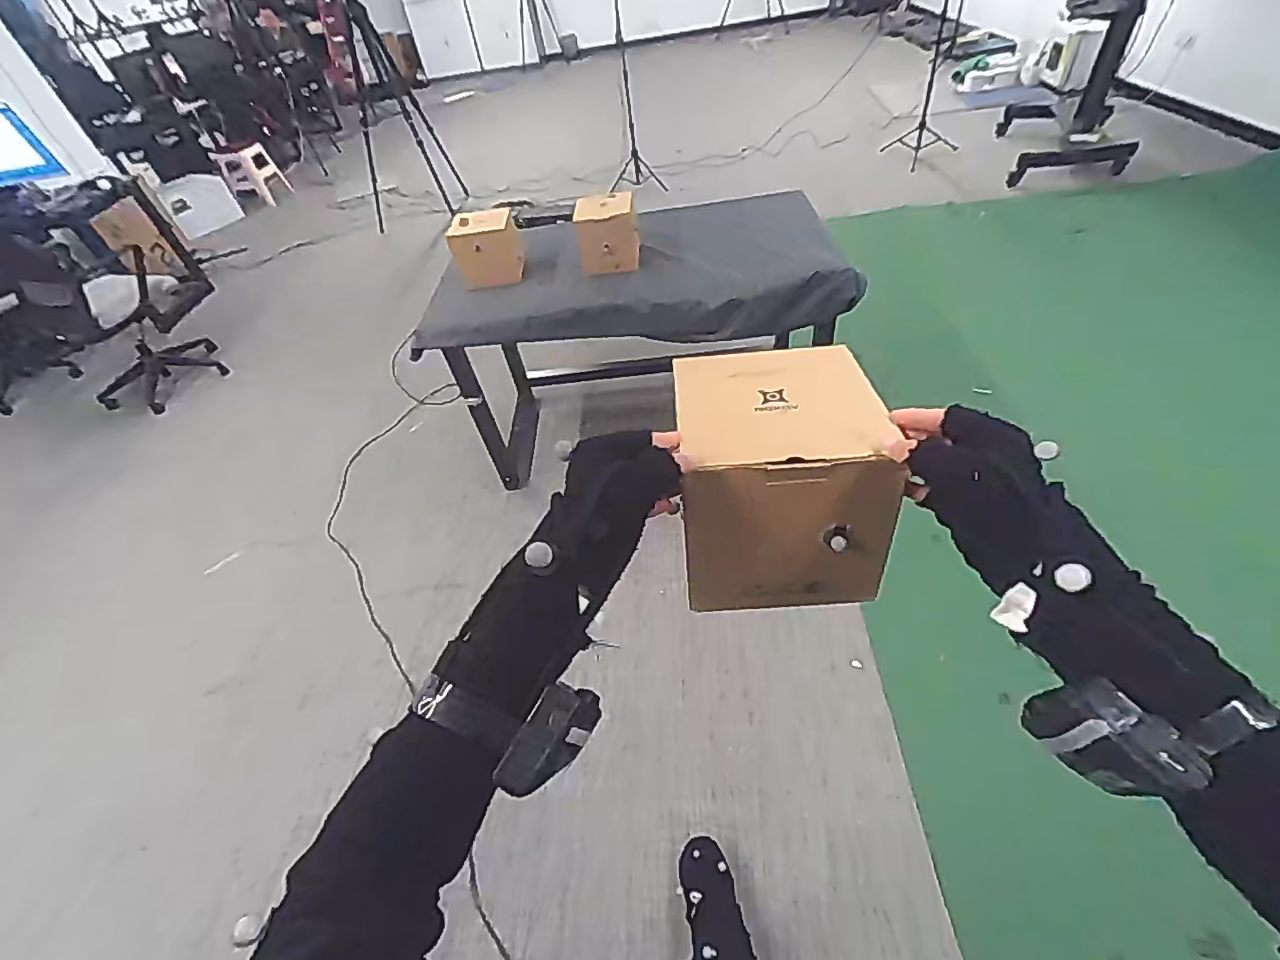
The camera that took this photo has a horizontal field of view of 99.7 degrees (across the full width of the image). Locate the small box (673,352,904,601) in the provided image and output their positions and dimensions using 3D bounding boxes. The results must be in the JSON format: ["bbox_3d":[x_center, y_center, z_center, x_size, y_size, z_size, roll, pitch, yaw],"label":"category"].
[{"bbox_3d":[0.120,0.000,0.507,0.168,0.176,0.179,-4,37,4],"label":"small box"}]

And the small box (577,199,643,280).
[{"bbox_3d":[-0.084,-0.716,1.624,0.168,0.176,0.179,-4,46,6],"label":"small box"}]

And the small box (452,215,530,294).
[{"bbox_3d":[-0.451,-0.690,1.663,0.179,0.176,0.168,-7,46,2],"label":"small box"}]
